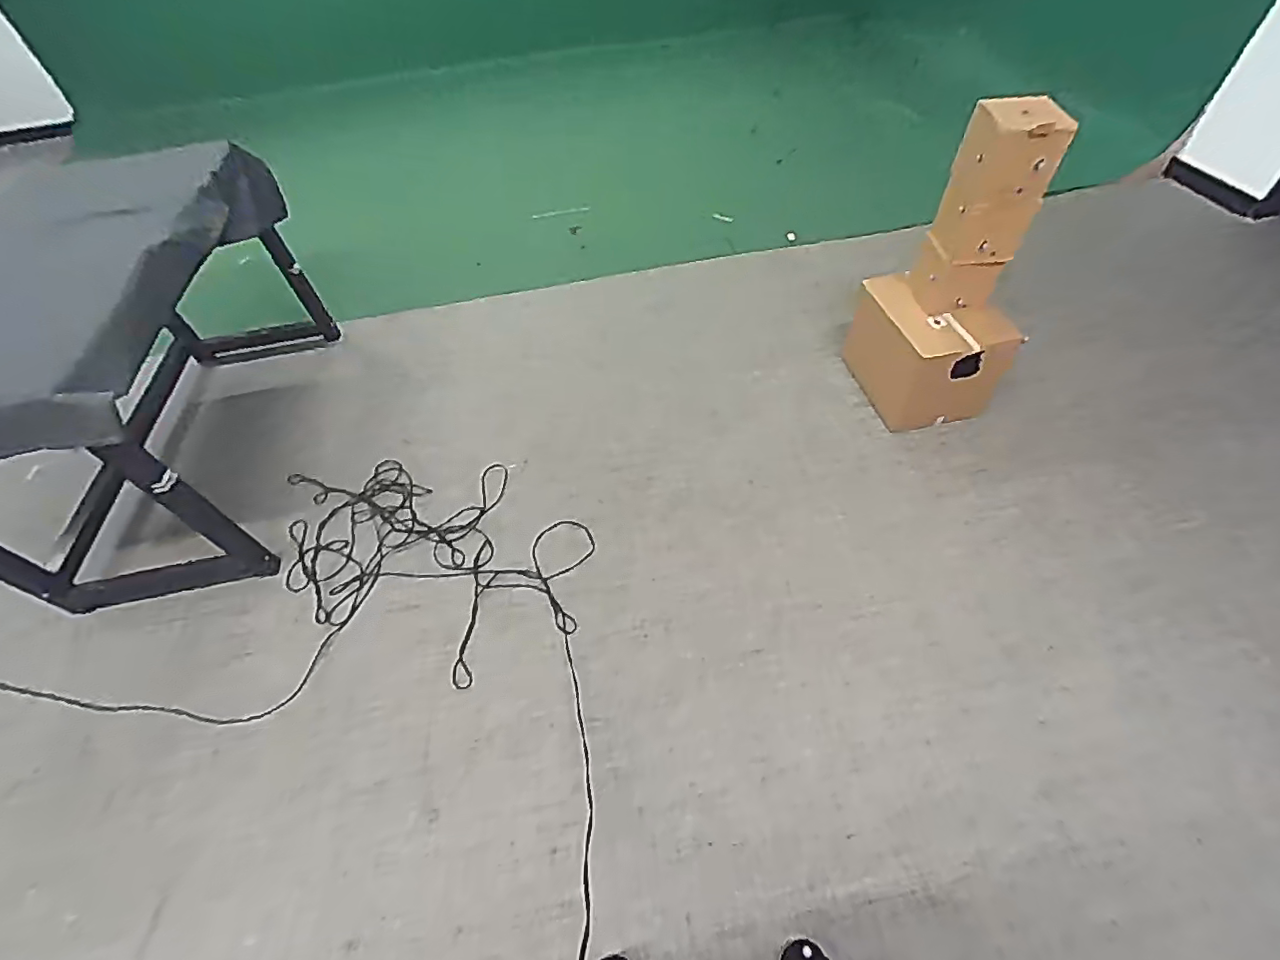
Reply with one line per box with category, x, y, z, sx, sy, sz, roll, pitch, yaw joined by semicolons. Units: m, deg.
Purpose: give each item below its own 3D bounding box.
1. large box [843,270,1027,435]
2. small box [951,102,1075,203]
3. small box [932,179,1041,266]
large box;0.916;-0.412;1.751;0.320;0.320;0.408;-12;53;-3
small box;0.904;-0.800;1.331;0.168;0.176;0.179;-1;52;3
small box;0.922;-0.701;1.459;0.168;0.176;0.179;-2;53;3
